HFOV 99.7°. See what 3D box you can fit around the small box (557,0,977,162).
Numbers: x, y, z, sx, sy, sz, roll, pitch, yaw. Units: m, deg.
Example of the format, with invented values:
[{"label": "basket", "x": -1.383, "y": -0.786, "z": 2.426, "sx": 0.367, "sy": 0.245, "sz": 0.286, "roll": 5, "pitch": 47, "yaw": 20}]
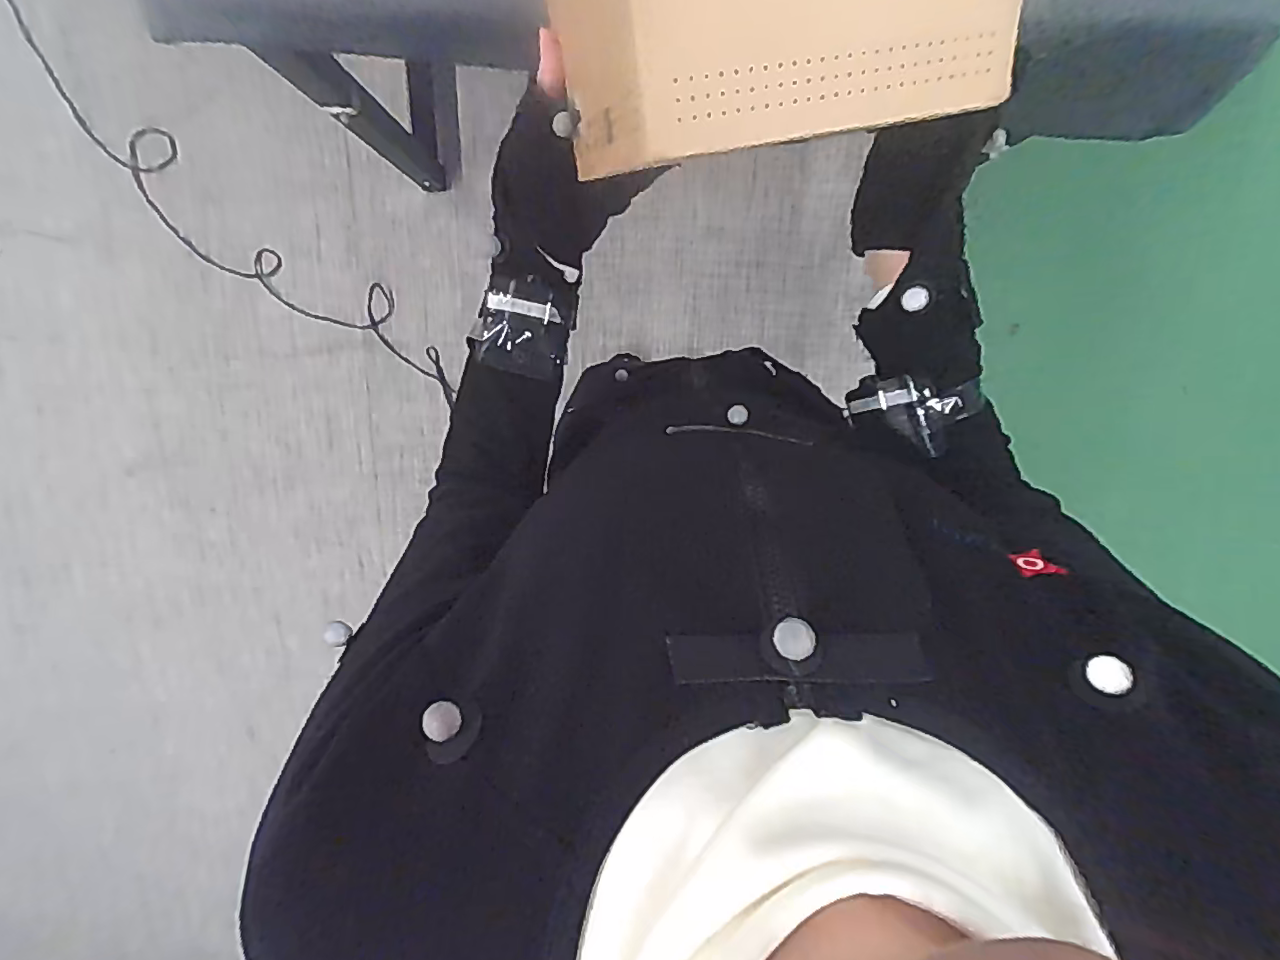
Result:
[{"label": "small box", "x": 0.051, "y": -0.268, "z": 0.274, "sx": 0.179, "sy": 0.168, "sz": 0.176, "roll": -15, "pitch": 119, "yaw": -10}]
